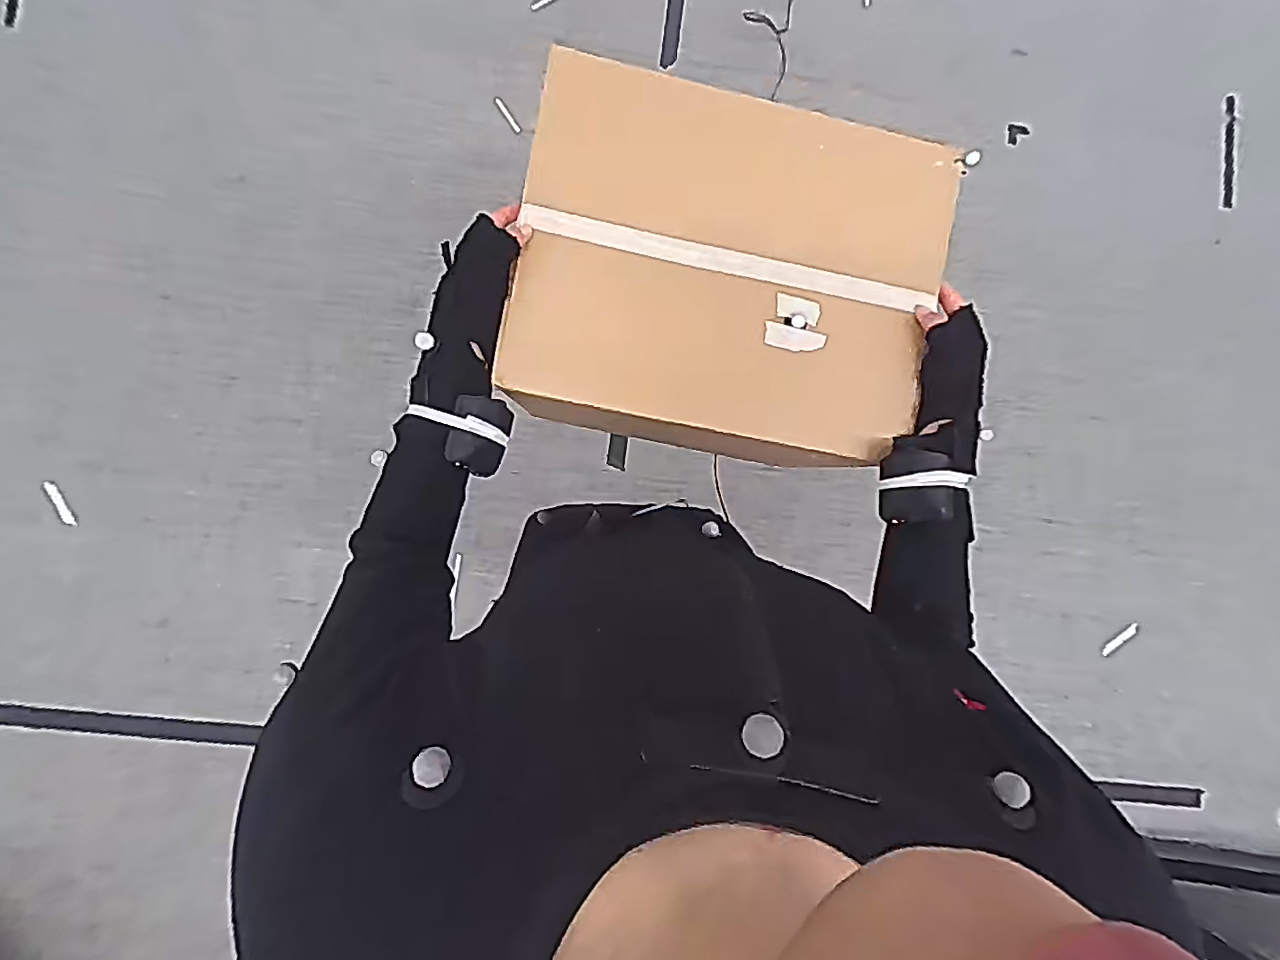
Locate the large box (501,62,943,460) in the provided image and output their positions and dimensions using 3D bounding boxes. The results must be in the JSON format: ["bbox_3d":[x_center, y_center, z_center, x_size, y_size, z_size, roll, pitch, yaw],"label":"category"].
[{"bbox_3d":[0.070,-0.210,0.670,0.408,0.320,0.320,11,91,-7],"label":"large box"}]
